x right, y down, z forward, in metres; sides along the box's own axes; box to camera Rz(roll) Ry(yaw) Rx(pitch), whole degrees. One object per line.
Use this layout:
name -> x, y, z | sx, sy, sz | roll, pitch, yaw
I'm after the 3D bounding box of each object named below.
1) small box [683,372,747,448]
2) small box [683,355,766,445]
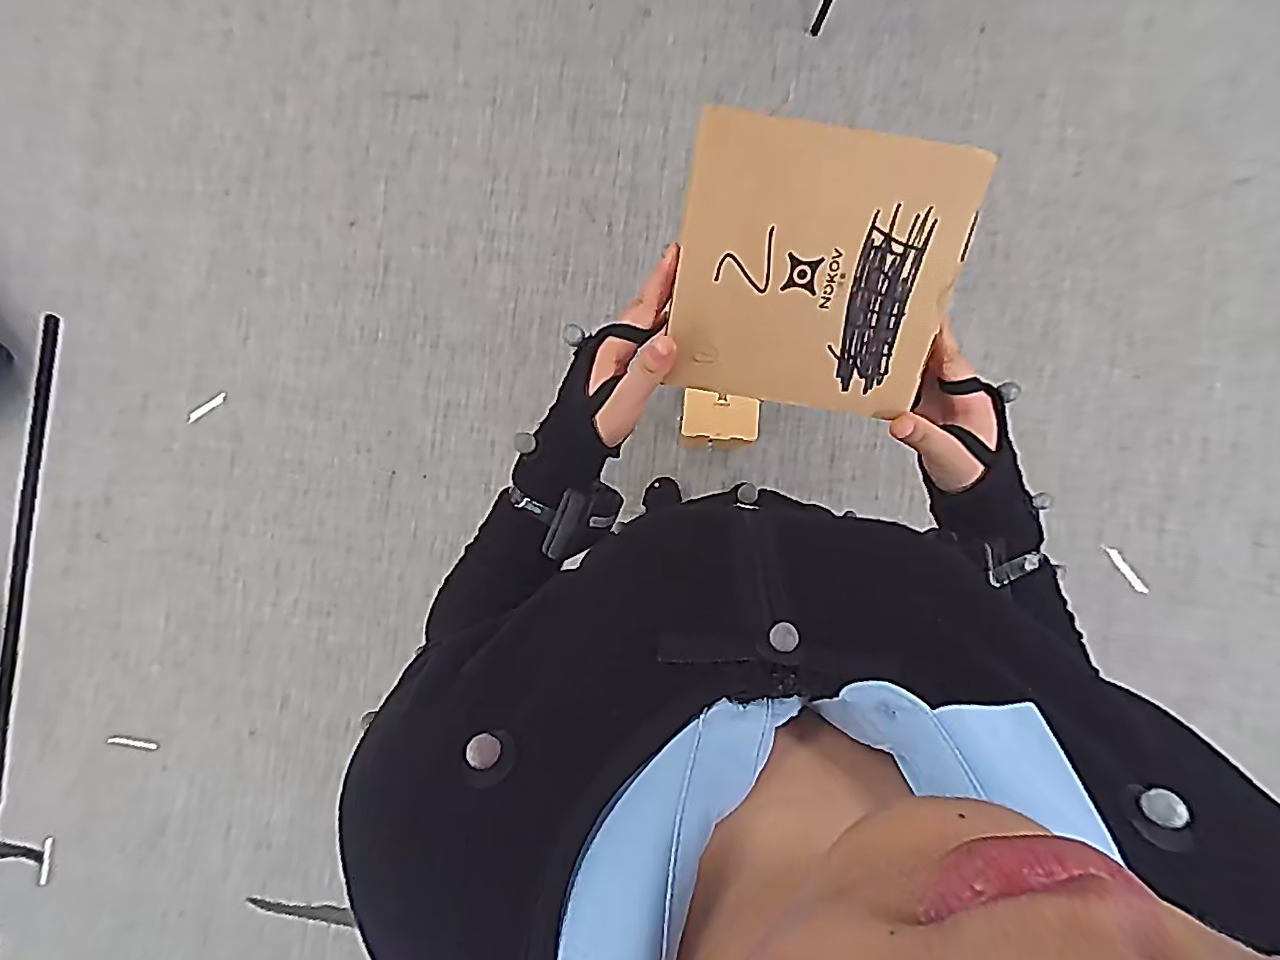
small box -> 0.199, -0.177, 1.413 | 0.168, 0.176, 0.179 | 3, 90, 3
small box -> 0.189, -0.179, 1.250 | 0.168, 0.176, 0.179 | 5, 91, 4
